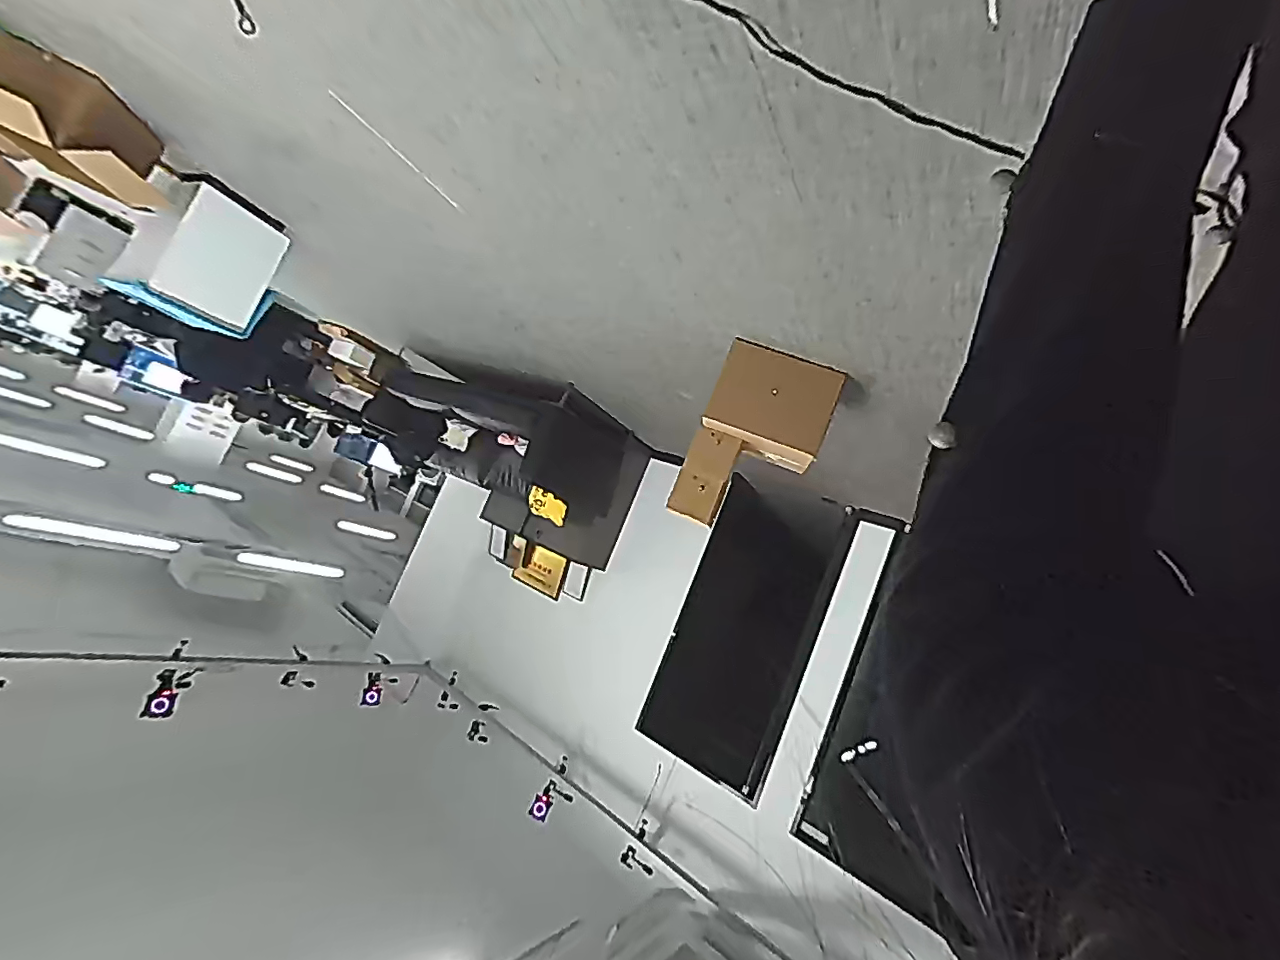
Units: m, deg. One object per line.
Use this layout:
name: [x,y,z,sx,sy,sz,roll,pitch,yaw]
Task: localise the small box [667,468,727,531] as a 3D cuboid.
small box: [0.216,0.072,1.988,0.168,0.176,0.179,21,173,15]
